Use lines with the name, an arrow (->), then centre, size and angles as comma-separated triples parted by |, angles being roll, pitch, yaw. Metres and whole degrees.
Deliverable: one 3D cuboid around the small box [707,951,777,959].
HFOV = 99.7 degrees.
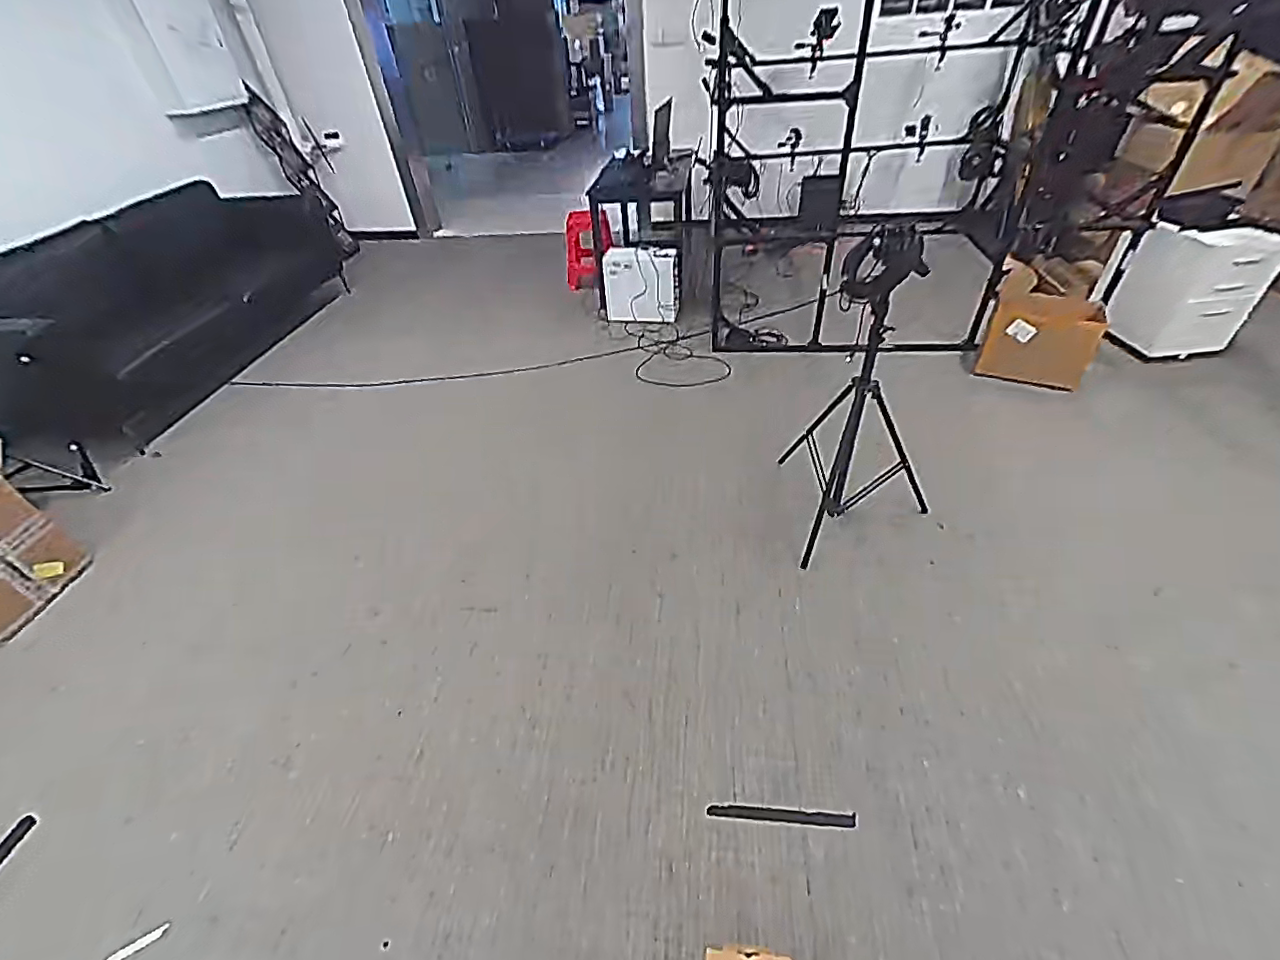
small box -> 0.204, 1.028, 1.021 | 0.168, 0.176, 0.179 | 1, 41, 7
